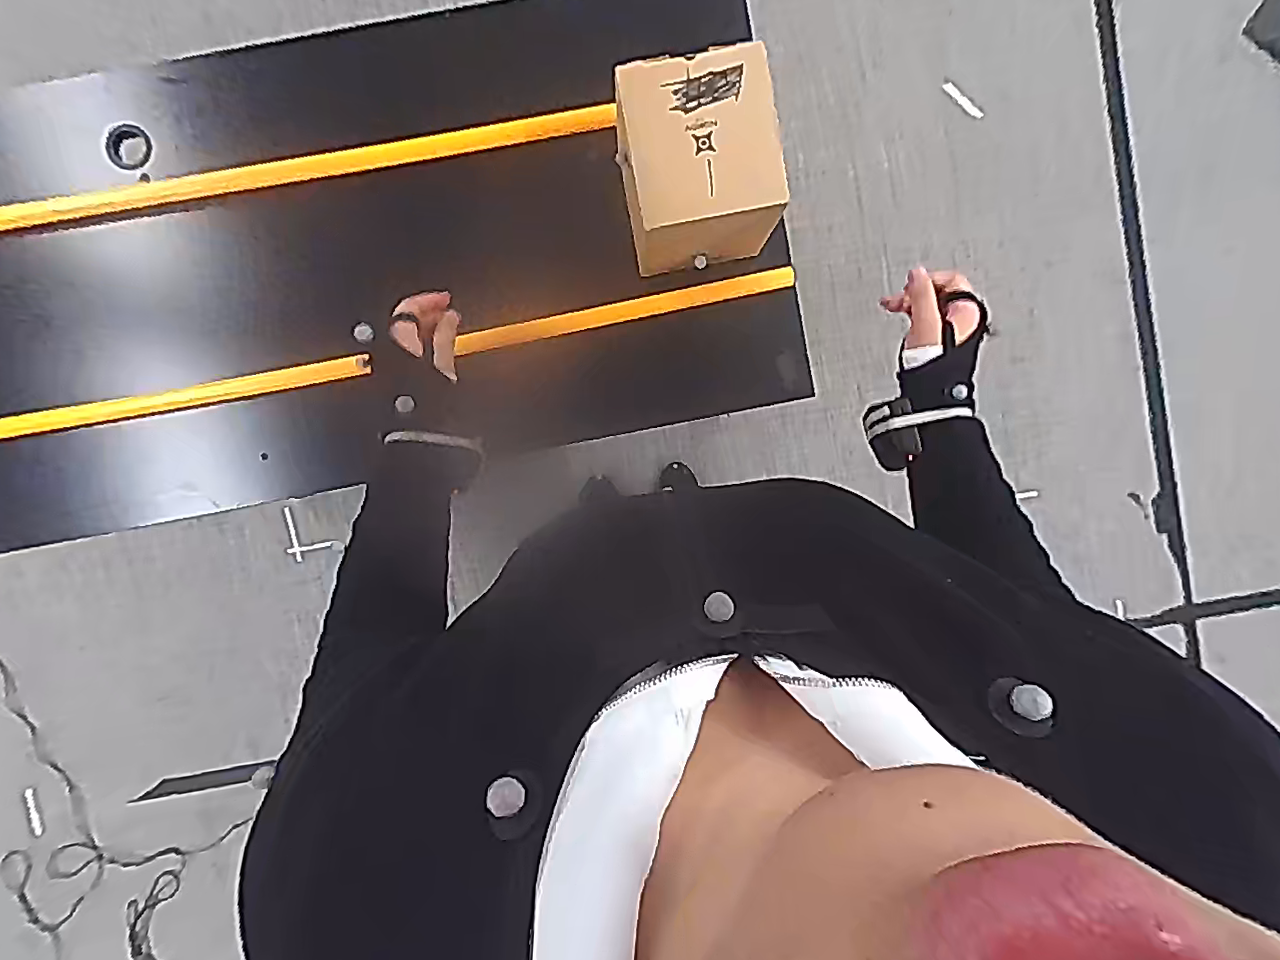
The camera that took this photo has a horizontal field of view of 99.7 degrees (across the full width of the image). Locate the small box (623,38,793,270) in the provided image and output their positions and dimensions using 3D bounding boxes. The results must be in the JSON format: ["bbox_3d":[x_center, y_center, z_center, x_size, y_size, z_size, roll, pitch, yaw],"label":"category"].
[{"bbox_3d":[0.072,-0.383,0.665,0.168,0.176,0.179,-10,94,0],"label":"small box"}]
